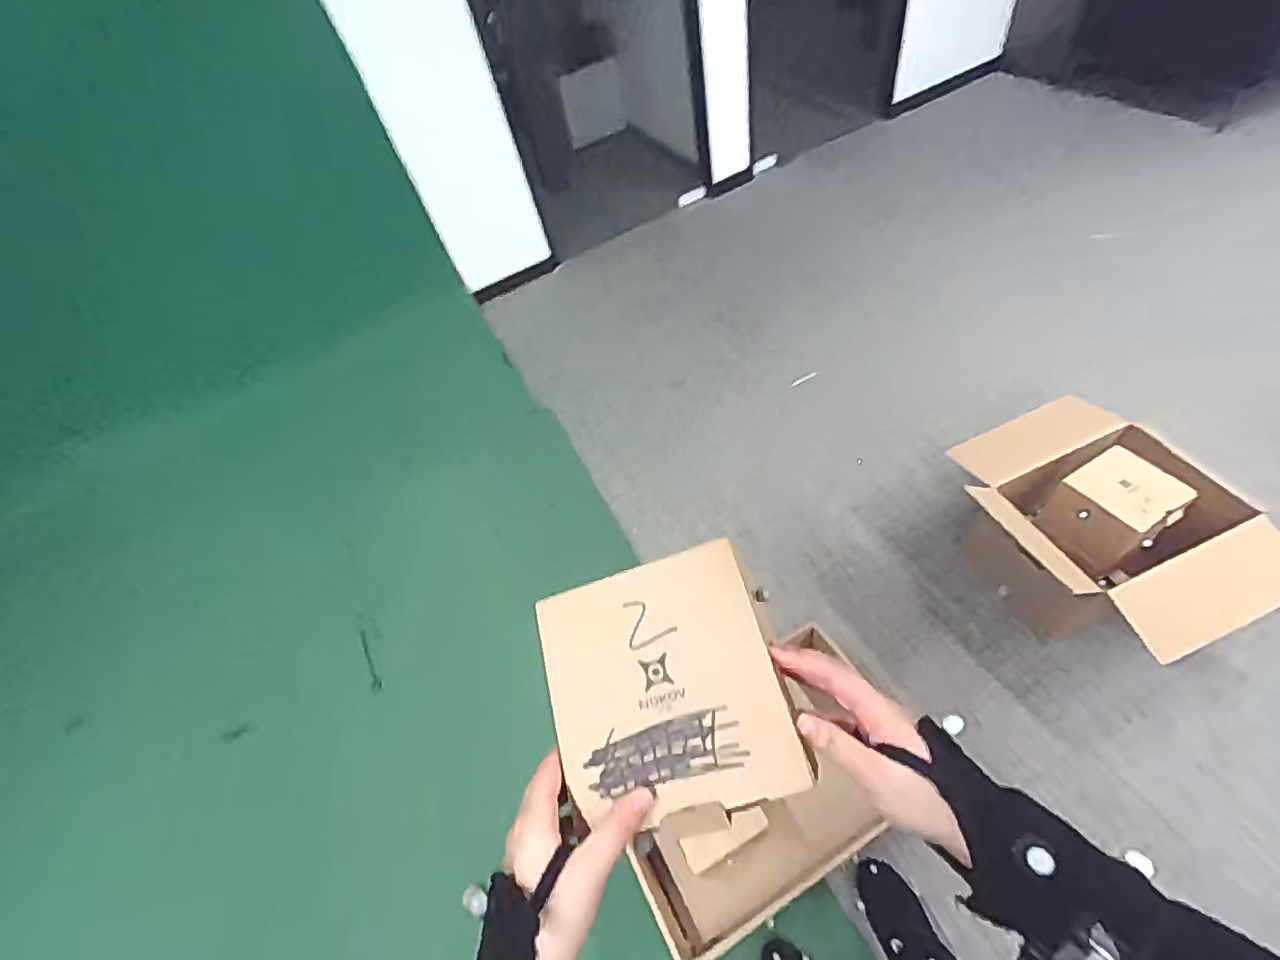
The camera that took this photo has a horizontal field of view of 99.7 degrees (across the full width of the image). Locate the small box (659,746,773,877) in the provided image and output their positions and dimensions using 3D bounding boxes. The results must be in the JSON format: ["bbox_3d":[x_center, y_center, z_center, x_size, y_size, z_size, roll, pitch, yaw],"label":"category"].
[{"bbox_3d":[0.166,0.703,1.141,0.179,0.176,0.168,-28,50,-9],"label":"small box"}]

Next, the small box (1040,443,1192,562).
[{"bbox_3d":[1.077,0.055,1.244,0.168,0.176,0.179,-31,51,-7],"label":"small box"}]

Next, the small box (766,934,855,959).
[{"bbox_3d":[0.327,0.951,0.945,0.176,0.168,0.179,32,37,0],"label":"small box"}]
